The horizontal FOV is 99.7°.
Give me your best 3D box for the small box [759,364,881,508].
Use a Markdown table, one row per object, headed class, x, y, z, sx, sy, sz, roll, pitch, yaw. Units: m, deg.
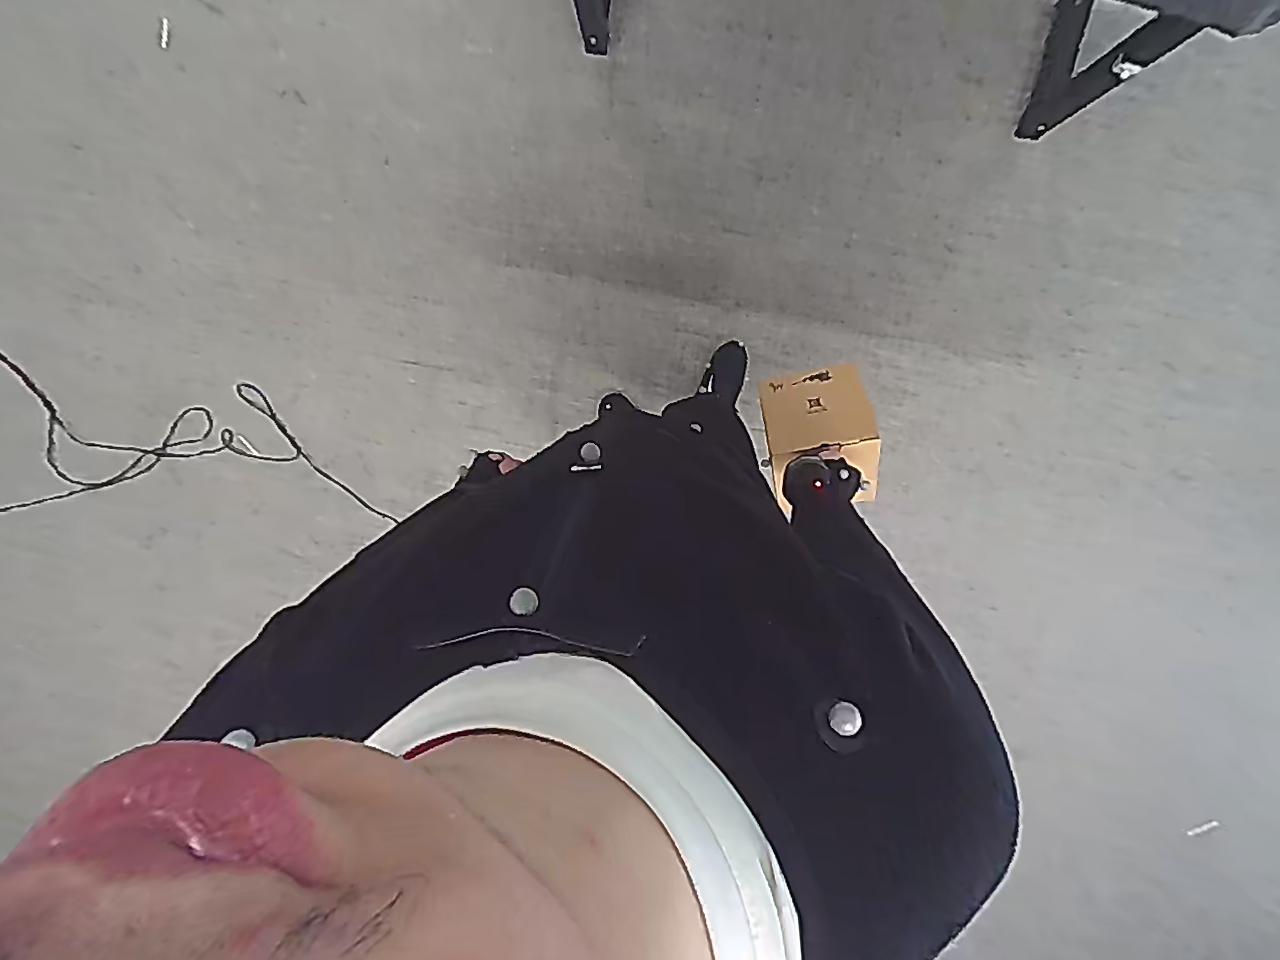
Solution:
| class | x | y | z | sx | sy | sz | roll | pitch | yaw |
| --- | --- | --- | --- | --- | --- | --- | --- | --- | --- |
| small box | 0.313 | -0.067 | 0.944 | 0.168 | 0.179 | 0.176 | -12 | 141 | 13 |
